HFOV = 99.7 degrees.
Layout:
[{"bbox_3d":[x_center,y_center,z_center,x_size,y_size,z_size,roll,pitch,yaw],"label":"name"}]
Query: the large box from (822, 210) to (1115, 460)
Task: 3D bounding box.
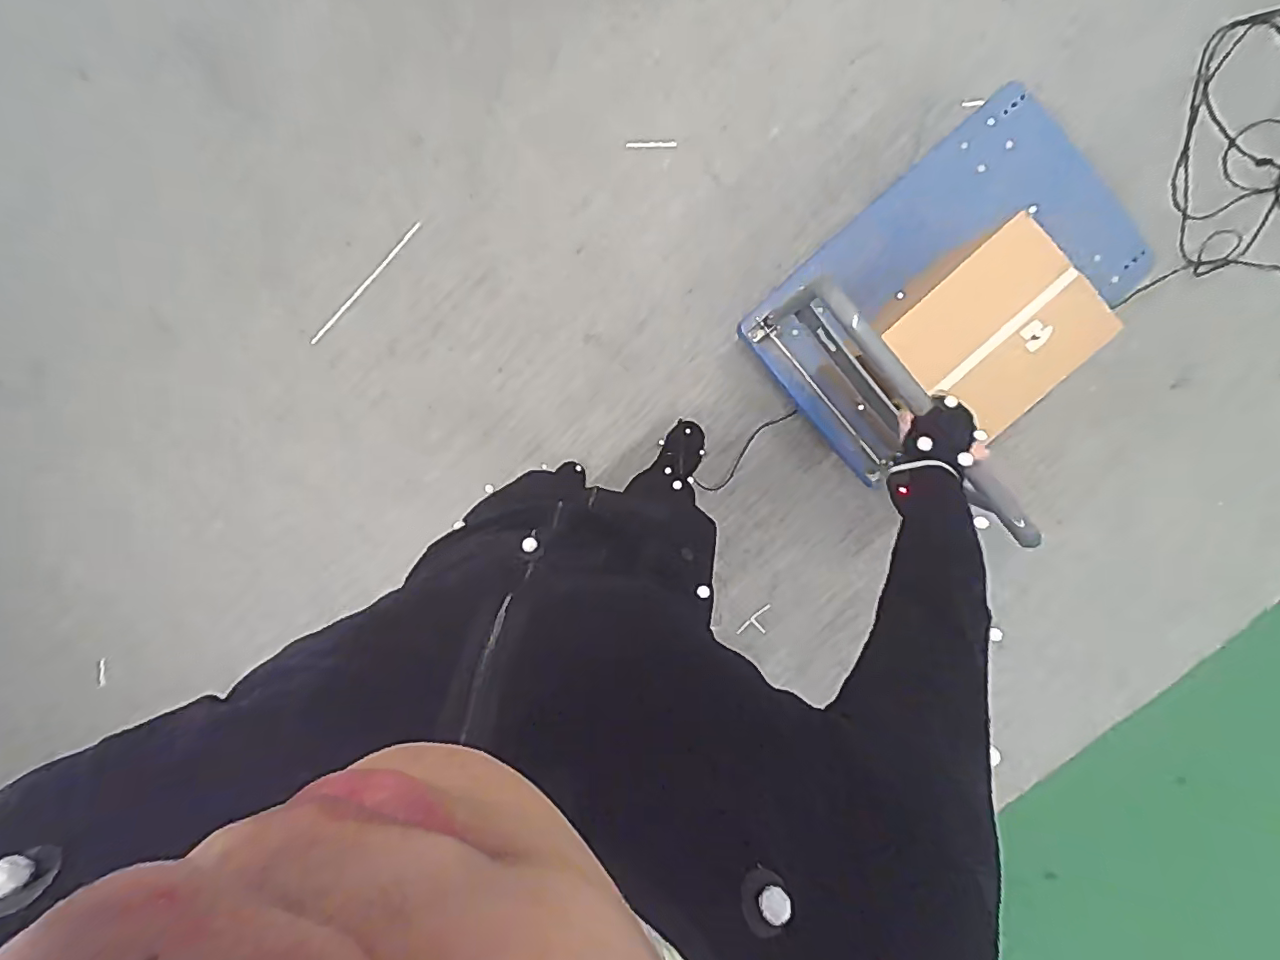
[{"bbox_3d":[0.698,-0.298,1.222,0.408,0.320,0.320,-43,95,6],"label":"large box"}]
